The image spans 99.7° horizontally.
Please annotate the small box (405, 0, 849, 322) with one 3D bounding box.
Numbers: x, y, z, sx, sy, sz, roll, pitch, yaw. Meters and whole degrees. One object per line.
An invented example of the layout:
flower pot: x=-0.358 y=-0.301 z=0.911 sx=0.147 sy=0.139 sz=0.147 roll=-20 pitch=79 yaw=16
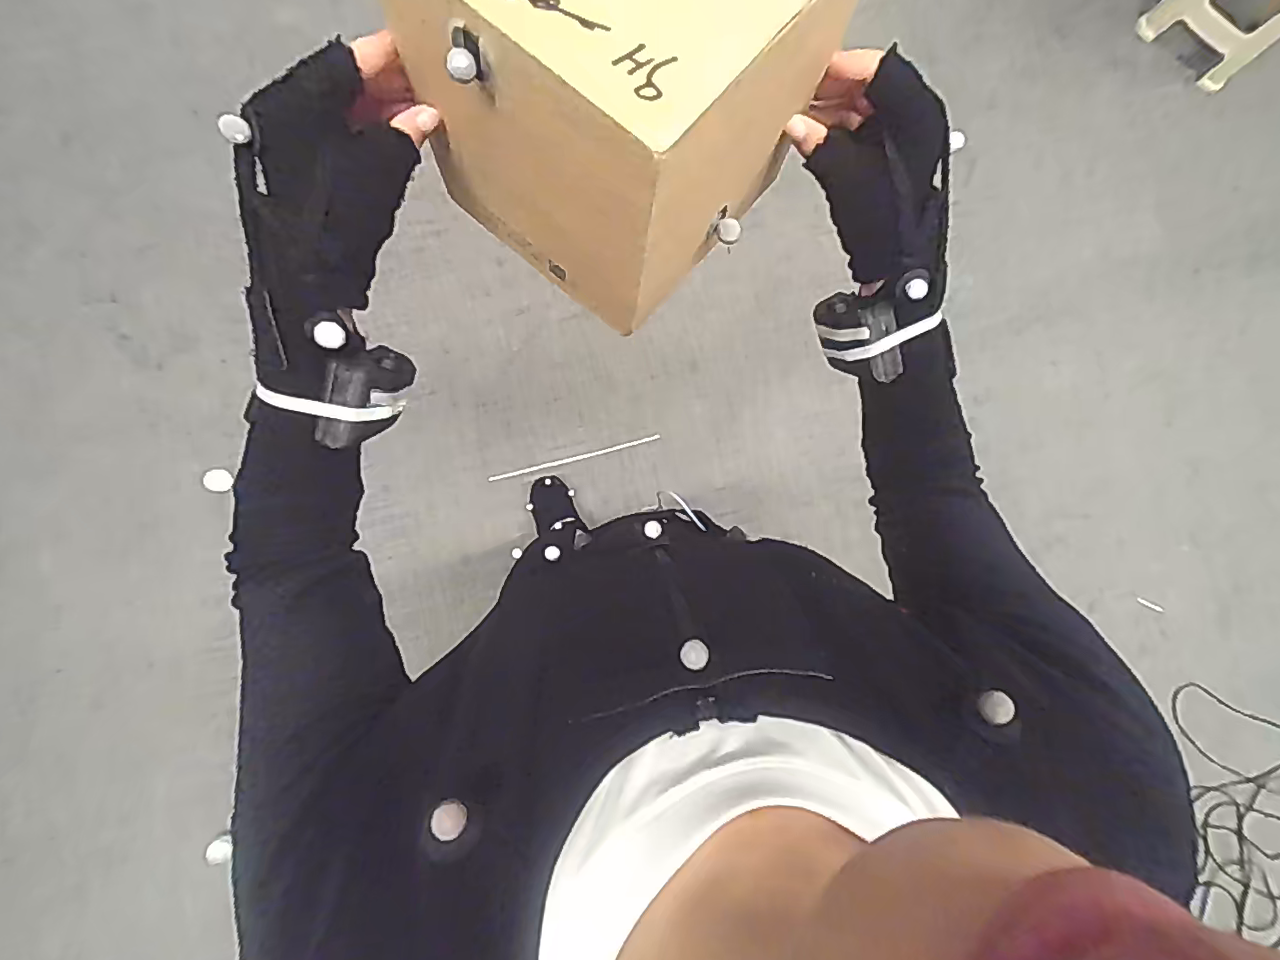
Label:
small box: x=-0.012 y=-0.233 z=0.316 sx=0.168 sy=0.176 sz=0.179 roll=40 pitch=77 yaw=3
